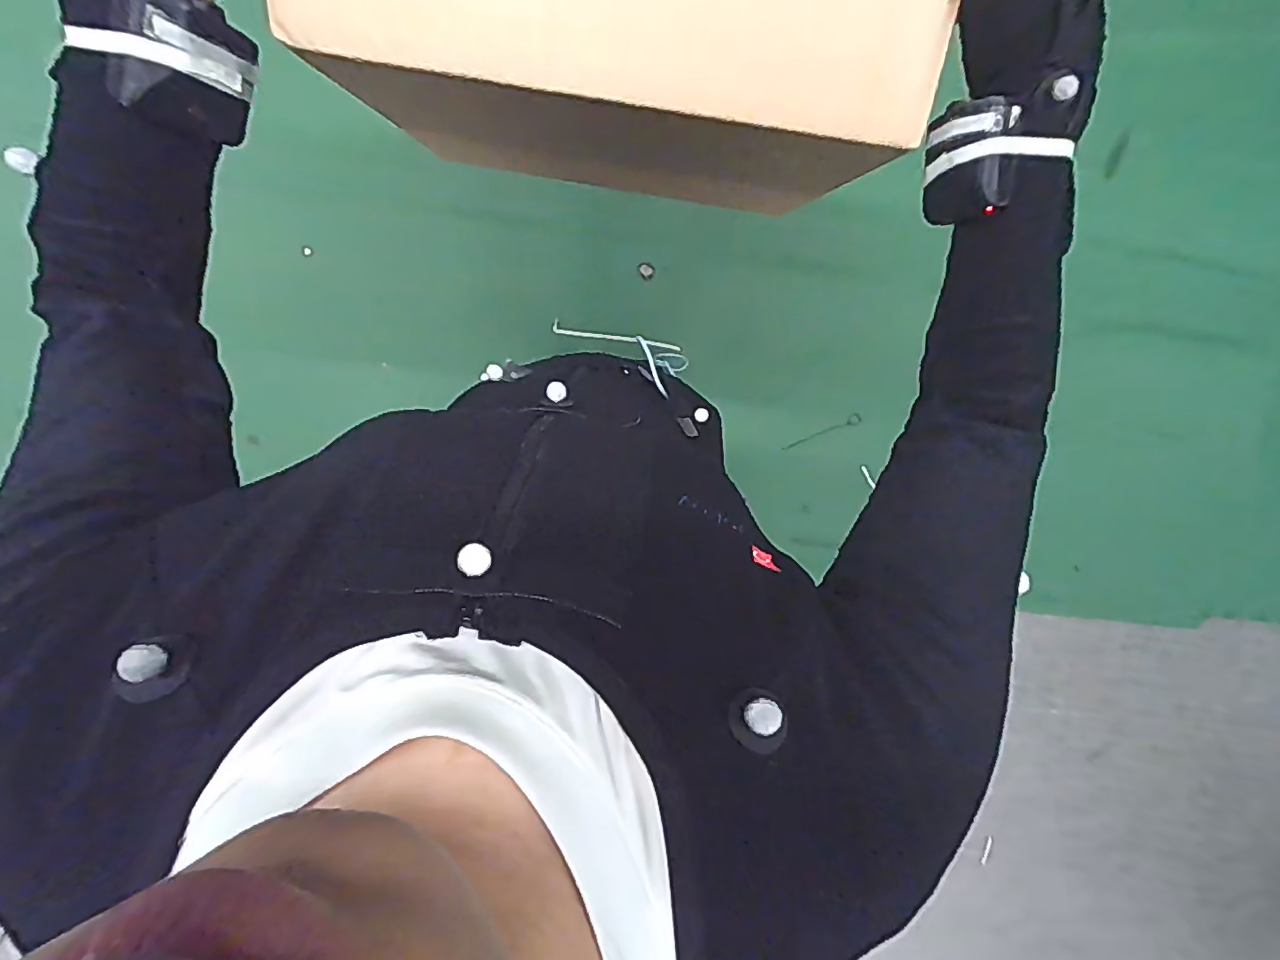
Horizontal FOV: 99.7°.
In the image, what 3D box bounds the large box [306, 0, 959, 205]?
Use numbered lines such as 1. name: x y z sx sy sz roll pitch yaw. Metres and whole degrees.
1. large box: 0.004 -0.439 0.436 0.408 0.320 0.320 6 109 -5
